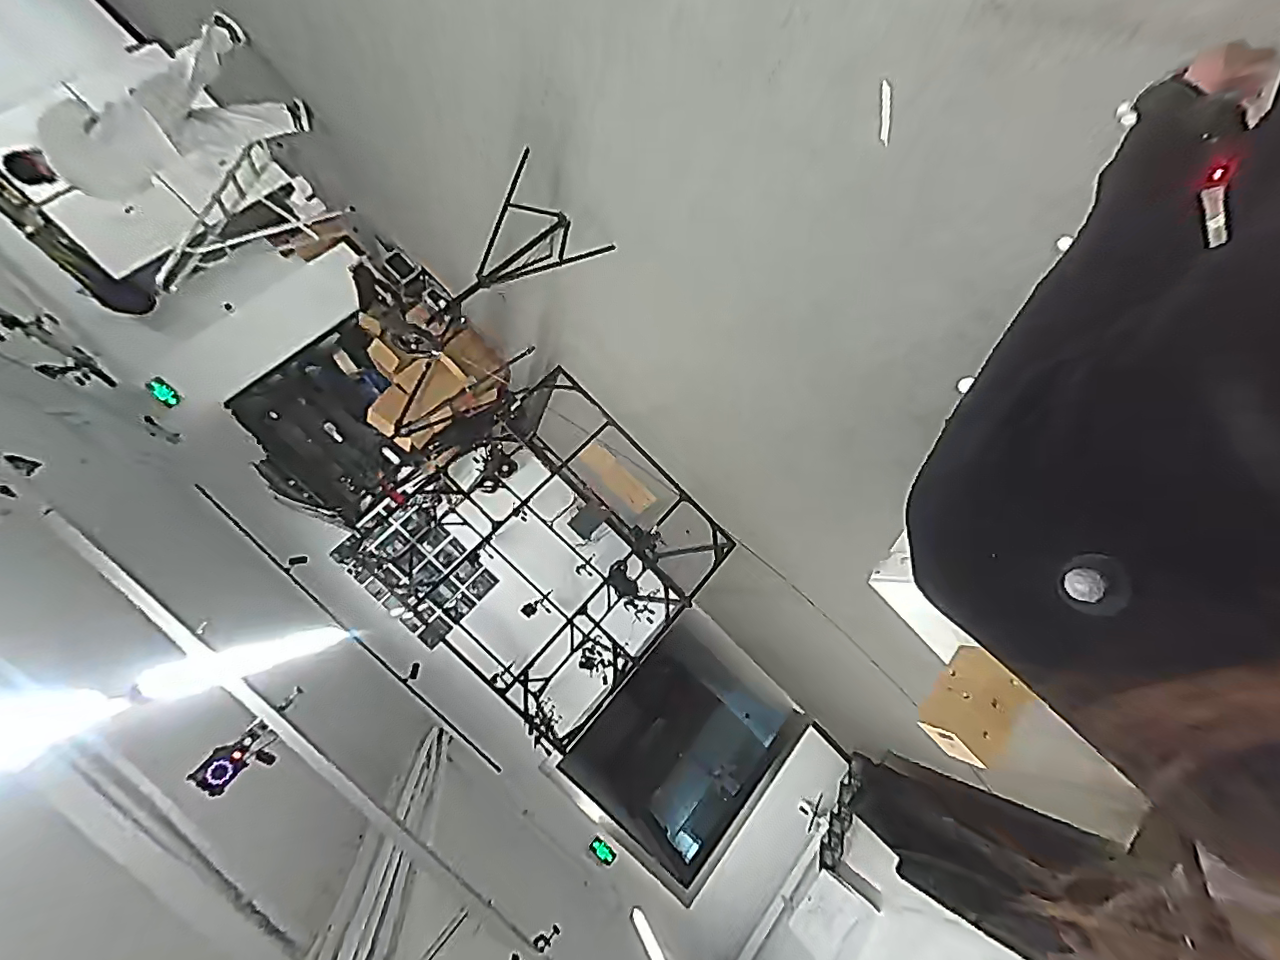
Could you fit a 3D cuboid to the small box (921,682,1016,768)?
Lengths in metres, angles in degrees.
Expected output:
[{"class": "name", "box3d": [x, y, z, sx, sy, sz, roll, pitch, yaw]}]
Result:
[{"class": "small box", "box3d": [1.078, 0.794, 1.775, 0.179, 0.176, 0.168, 45, 163, -5]}]

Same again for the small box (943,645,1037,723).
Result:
[{"class": "small box", "box3d": [1.185, 0.681, 1.829, 0.168, 0.176, 0.179, 45, 163, -4]}]
